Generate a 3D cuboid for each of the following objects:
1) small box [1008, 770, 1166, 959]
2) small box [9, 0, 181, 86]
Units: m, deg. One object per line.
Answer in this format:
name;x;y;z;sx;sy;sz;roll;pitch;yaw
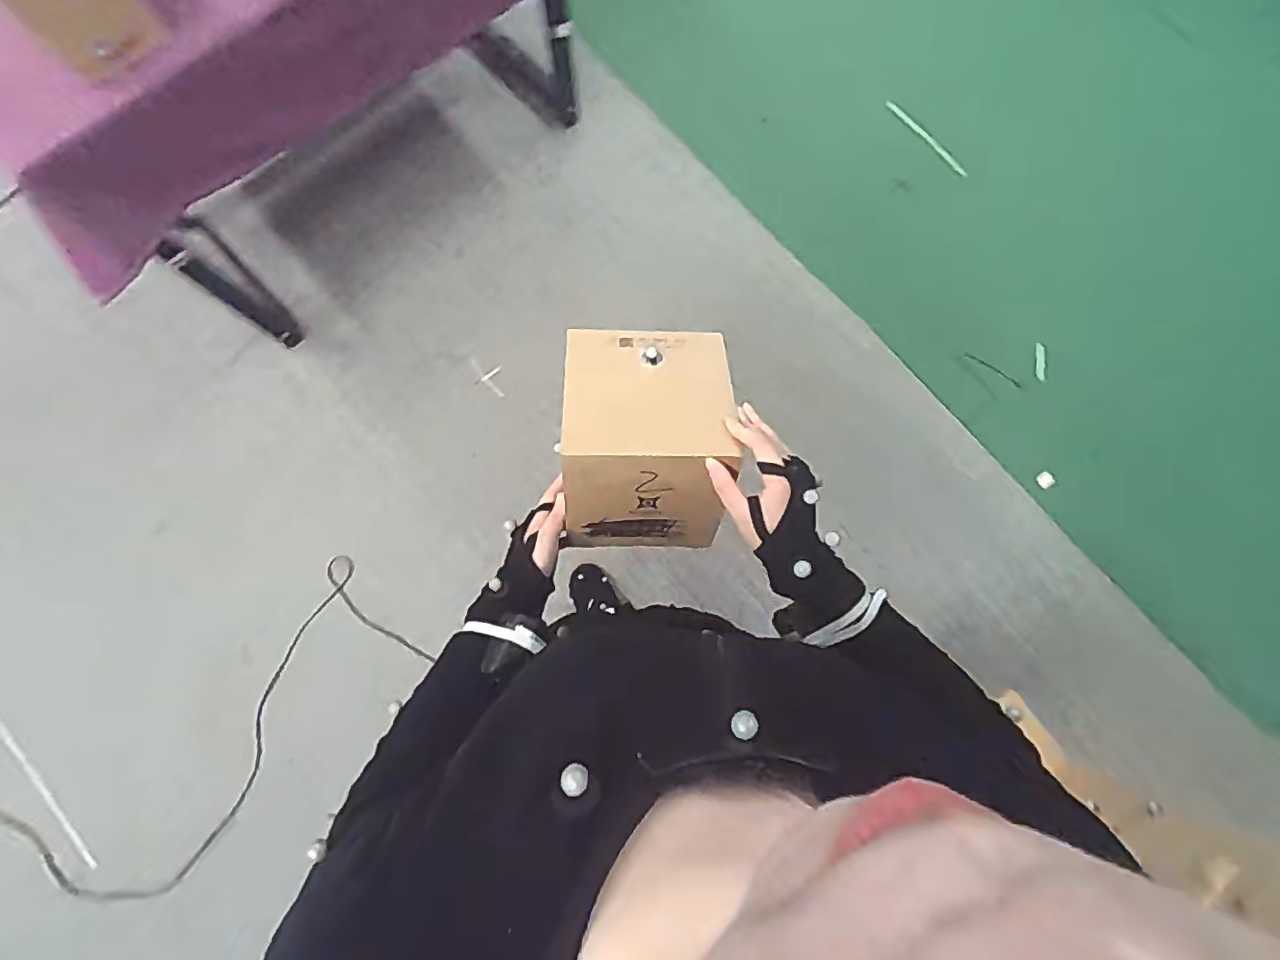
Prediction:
small box;0.784;0.631;0.914;0.179;0.176;0.168;-29;81;-6
small box;-0.910;-0.792;0.865;0.168;0.176;0.179;-42;83;-8
